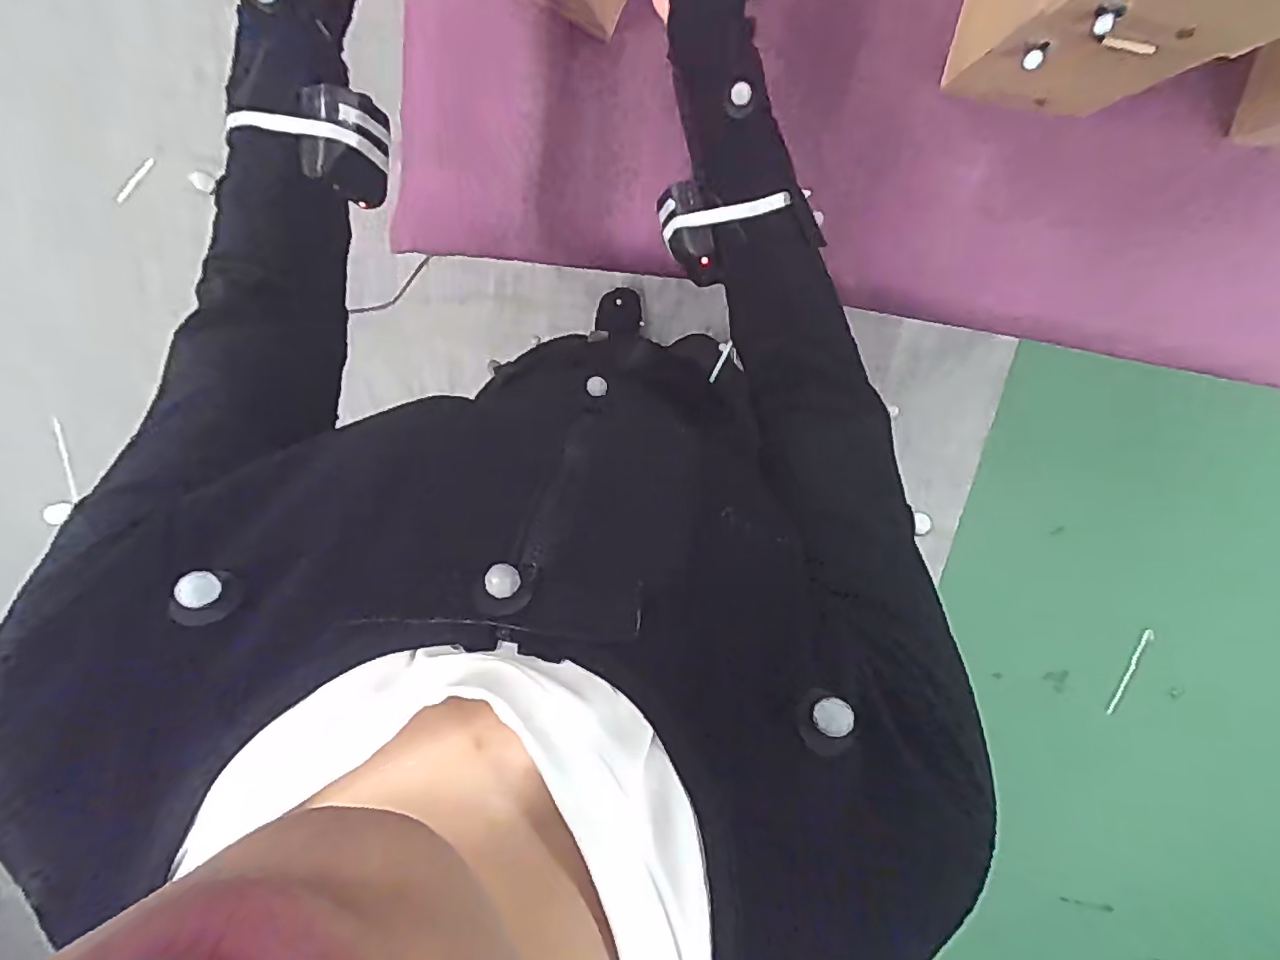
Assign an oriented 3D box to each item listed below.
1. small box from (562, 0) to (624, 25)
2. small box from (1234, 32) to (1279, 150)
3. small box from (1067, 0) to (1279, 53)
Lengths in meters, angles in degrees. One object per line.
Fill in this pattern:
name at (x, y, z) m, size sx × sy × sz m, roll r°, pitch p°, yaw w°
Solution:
small box at (-0.064, -0.552, 0.461) m, size 0.168 × 0.176 × 0.179 m, roll 27°, pitch 106°, yaw -8°
small box at (0.741, -0.428, 0.506) m, size 0.168 × 0.176 × 0.179 m, roll 6°, pitch 108°, yaw 0°
small box at (0.420, -0.415, 0.342) m, size 0.168 × 0.176 × 0.179 m, roll 8°, pitch 106°, yaw -2°
